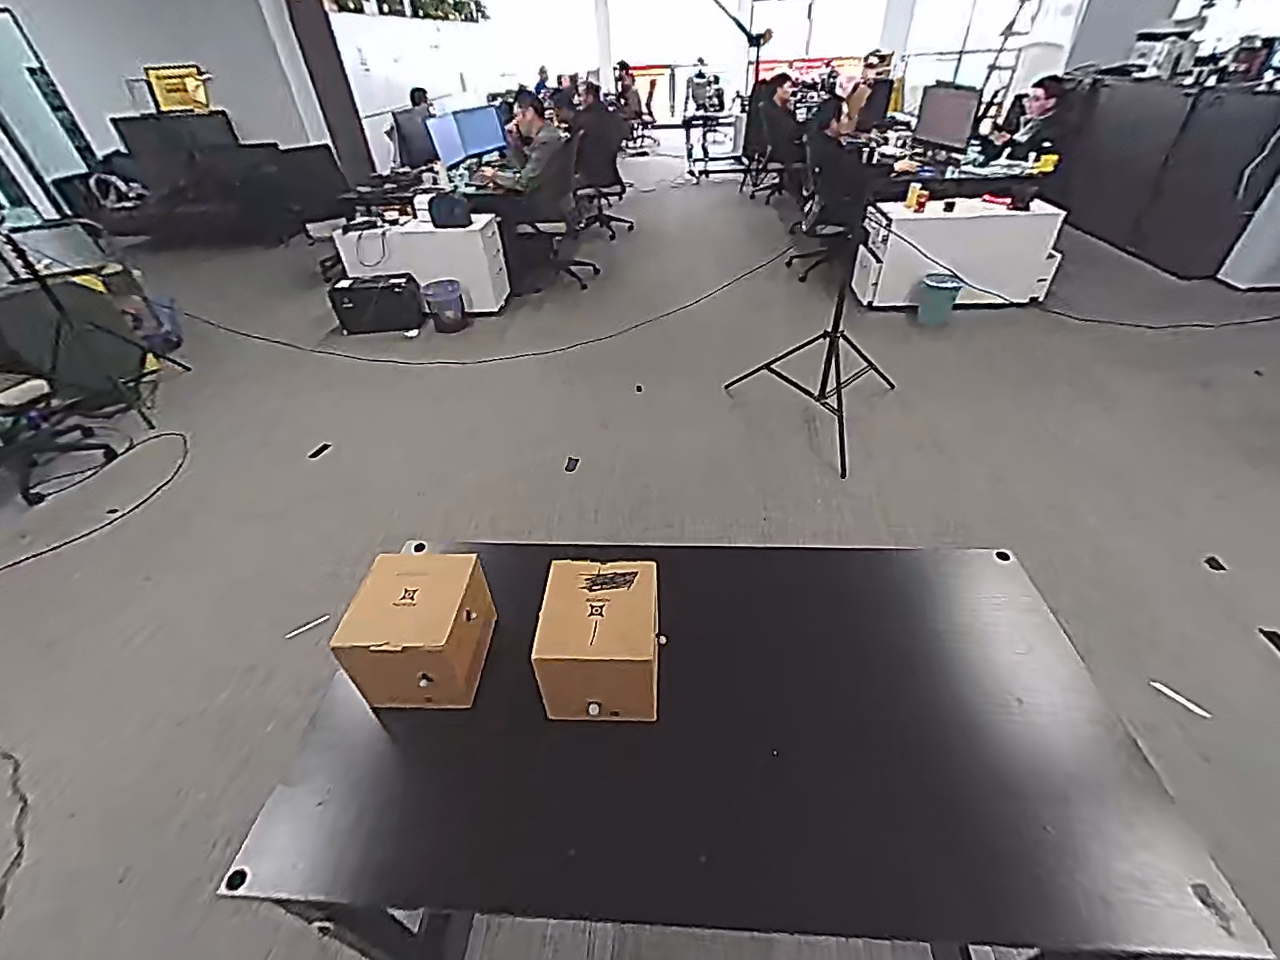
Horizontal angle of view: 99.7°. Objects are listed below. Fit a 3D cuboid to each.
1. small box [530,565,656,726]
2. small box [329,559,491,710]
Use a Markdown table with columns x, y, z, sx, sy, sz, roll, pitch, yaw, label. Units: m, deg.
| x | y | z | sx | sy | sz | roll | pitch | yaw | label |
| --- | --- | --- | --- | --- | --- | --- | --- | --- | --- |
| -0.062 | 0.252 | 0.835 | 0.168 | 0.176 | 0.179 | -1 | 40 | 3 | small box |
| -0.348 | 0.247 | 0.861 | 0.168 | 0.176 | 0.179 | 0 | 38 | 2 | small box |
